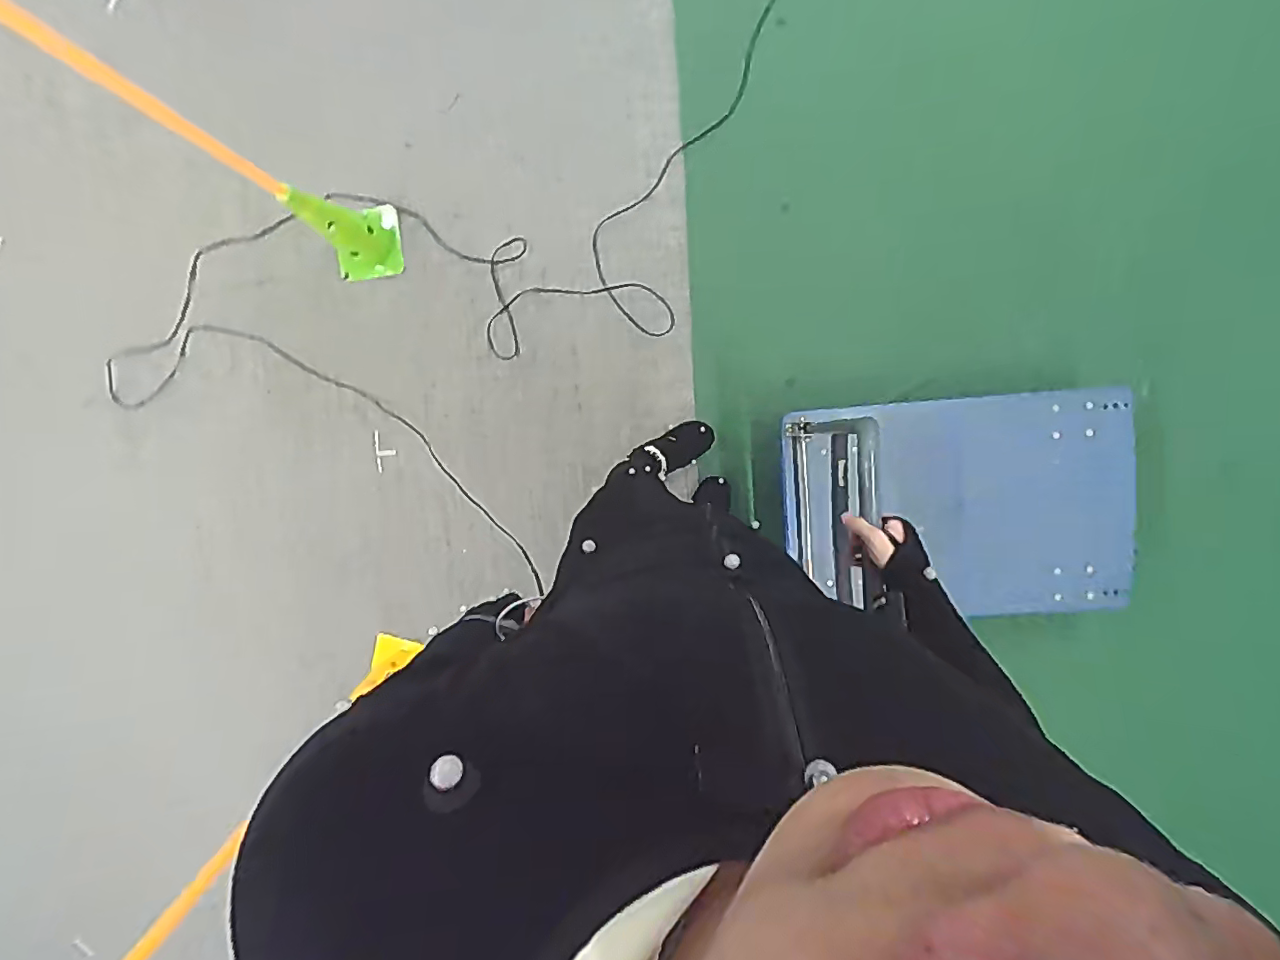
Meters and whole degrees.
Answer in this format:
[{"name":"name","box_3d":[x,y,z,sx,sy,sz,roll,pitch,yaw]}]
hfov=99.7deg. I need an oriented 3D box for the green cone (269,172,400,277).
[{"name":"green cone","box_3d":[-0.827,-0.703,1.435,0.200,0.368,0.202,-7,93,5]}]
